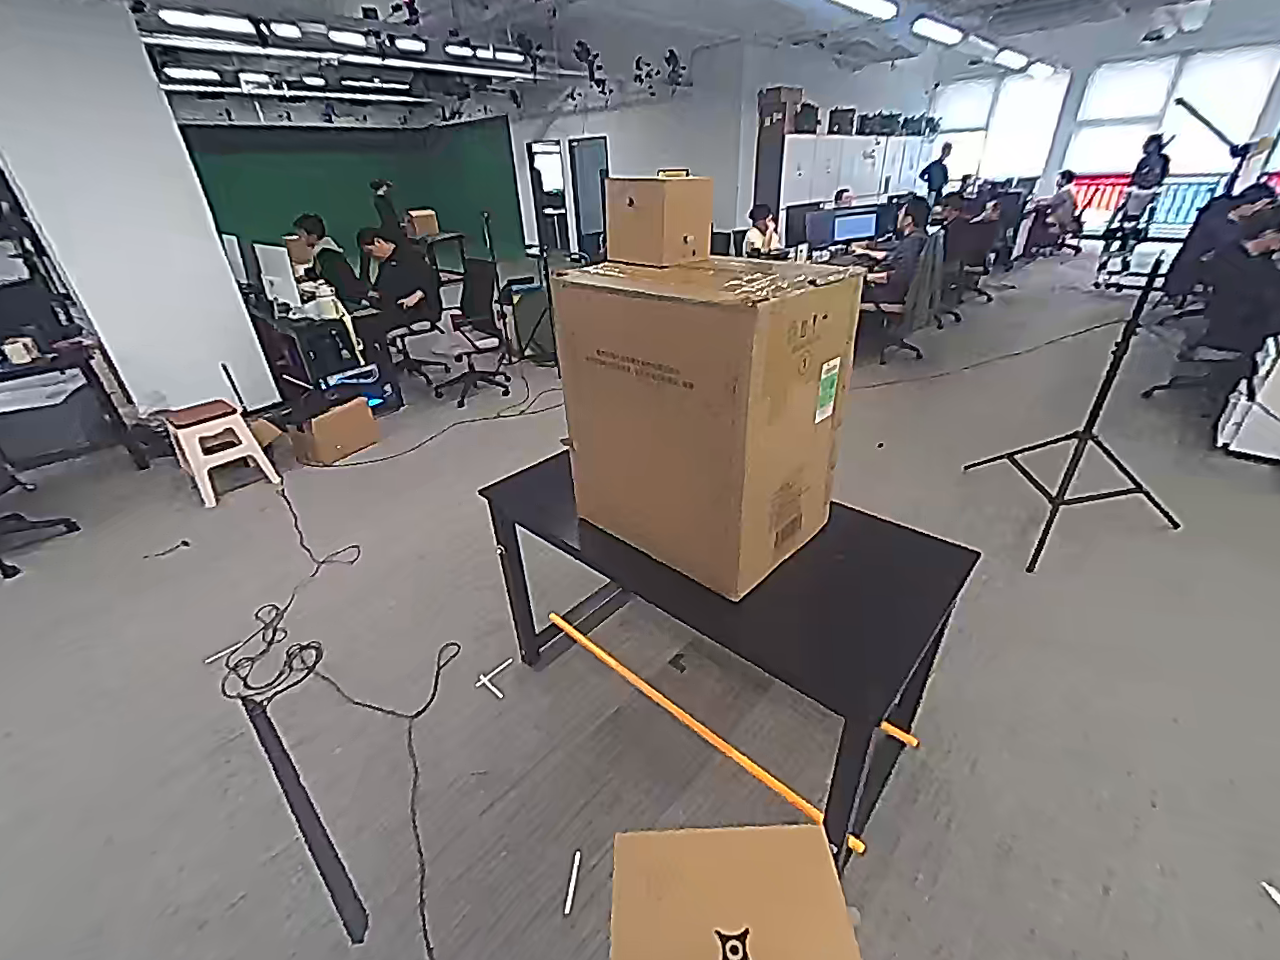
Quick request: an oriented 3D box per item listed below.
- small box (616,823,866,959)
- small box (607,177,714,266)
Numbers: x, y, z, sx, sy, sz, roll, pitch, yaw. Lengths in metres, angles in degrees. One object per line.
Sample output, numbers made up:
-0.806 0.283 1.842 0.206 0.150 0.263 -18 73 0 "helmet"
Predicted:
0.071 0.385 0.388 0.168 0.176 0.179 -5 28 3 "small box"
0.042 -0.578 1.208 0.179 0.176 0.168 25 38 37 "small box"
